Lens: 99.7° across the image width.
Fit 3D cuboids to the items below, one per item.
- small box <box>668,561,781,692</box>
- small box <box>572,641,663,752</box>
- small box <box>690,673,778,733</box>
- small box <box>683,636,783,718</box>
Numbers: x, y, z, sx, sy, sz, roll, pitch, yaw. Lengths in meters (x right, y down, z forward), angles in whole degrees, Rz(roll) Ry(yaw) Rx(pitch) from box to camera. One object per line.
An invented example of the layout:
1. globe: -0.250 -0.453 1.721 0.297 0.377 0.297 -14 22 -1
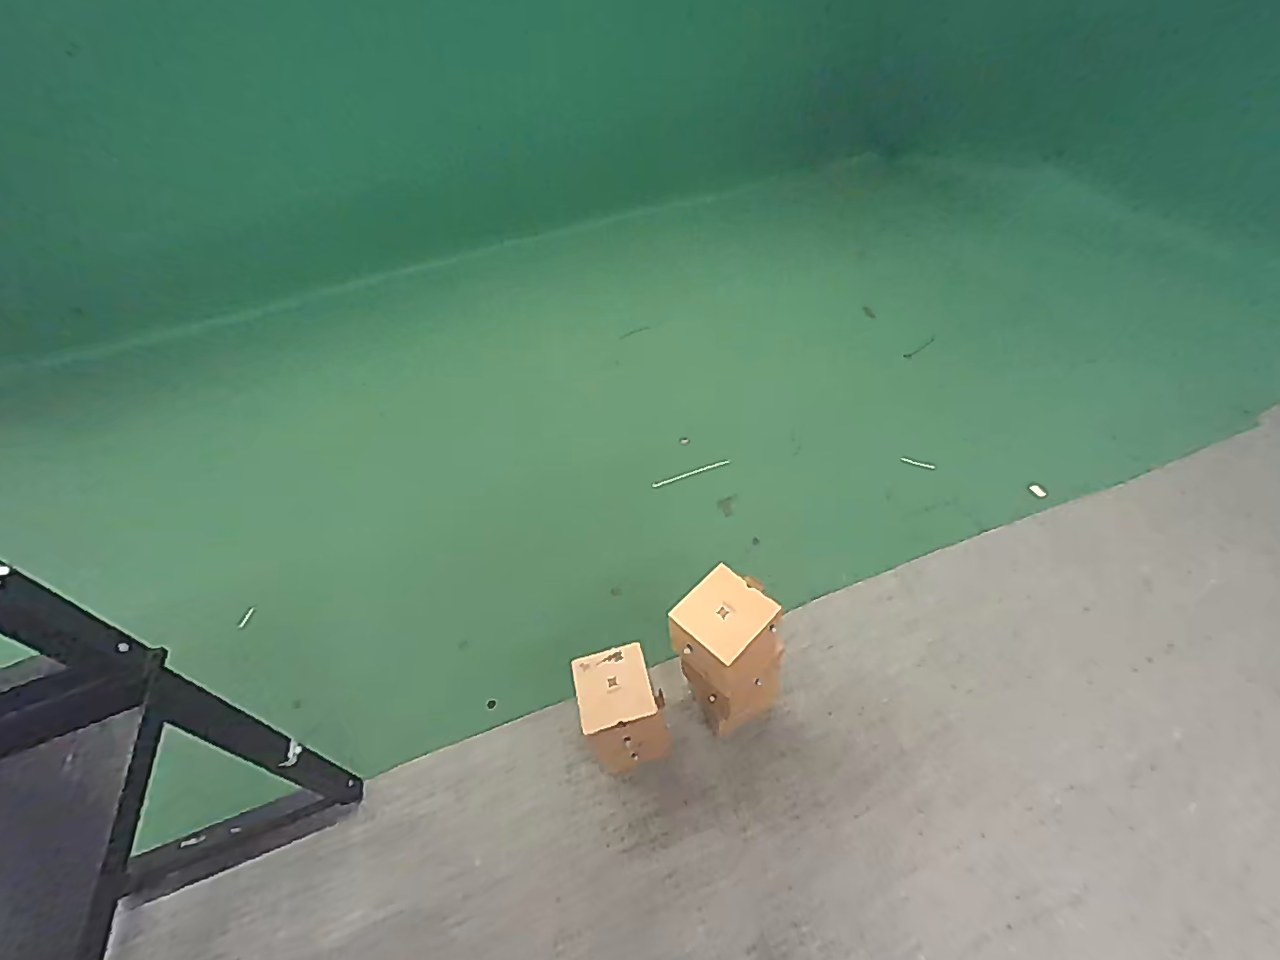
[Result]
1. small box: 0.181 0.317 1.160 0.179 0.176 0.168 -38 54 -25
2. small box: -0.050 0.504 1.243 0.168 0.176 0.179 -14 47 -4
3. small box: 0.237 0.524 1.405 0.179 0.176 0.168 -24 49 -14
4. small box: 0.215 0.425 1.279 0.179 0.176 0.168 -34 53 -22
